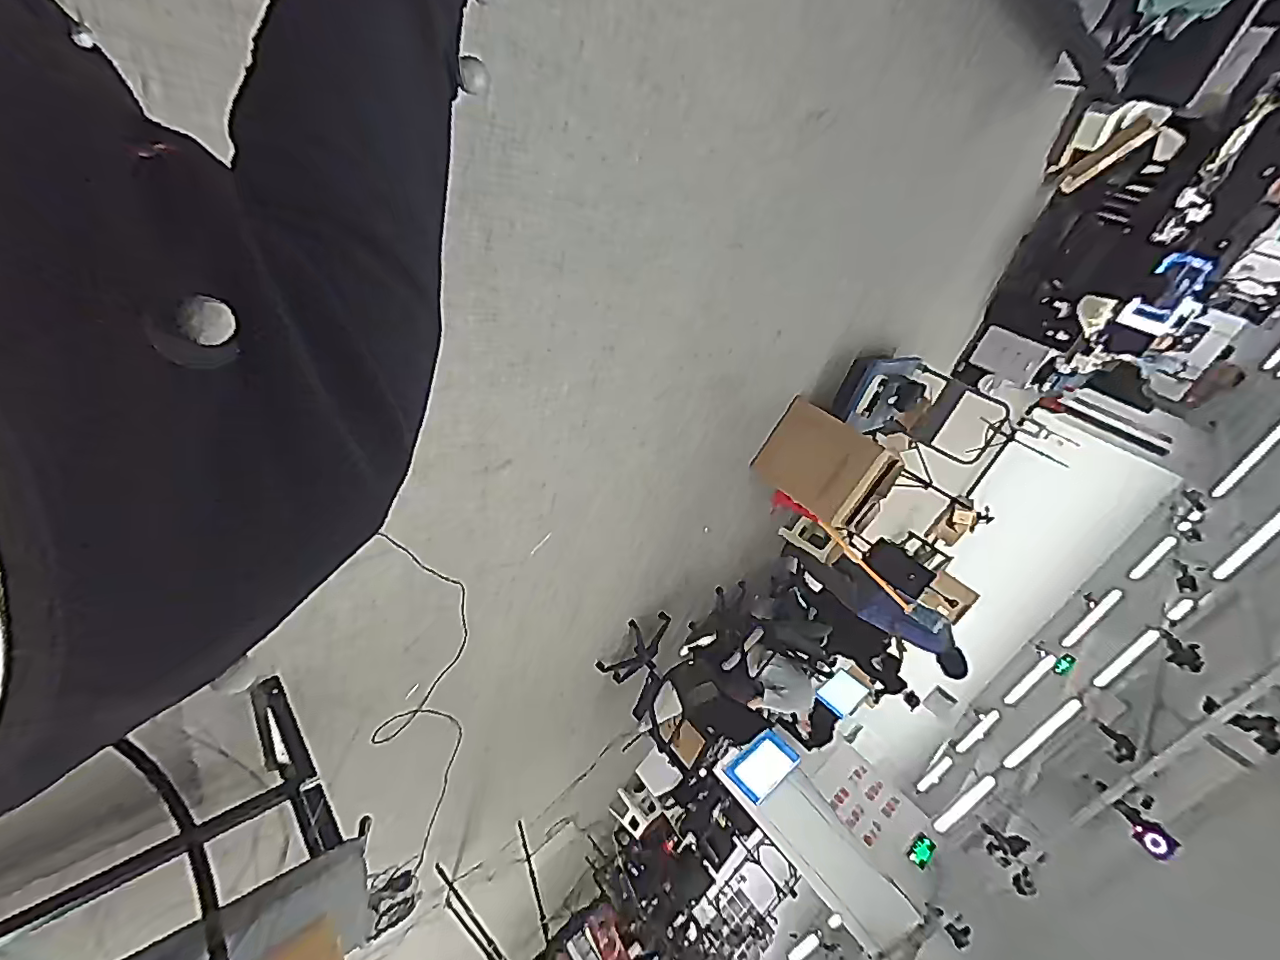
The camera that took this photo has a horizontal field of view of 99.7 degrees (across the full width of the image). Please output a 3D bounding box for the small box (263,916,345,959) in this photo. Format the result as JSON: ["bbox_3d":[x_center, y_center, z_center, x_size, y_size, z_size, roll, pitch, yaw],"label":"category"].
[{"bbox_3d":[-0.921,1.366,1.491,0.179,0.176,0.168,-17,135,-40],"label":"small box"}]
